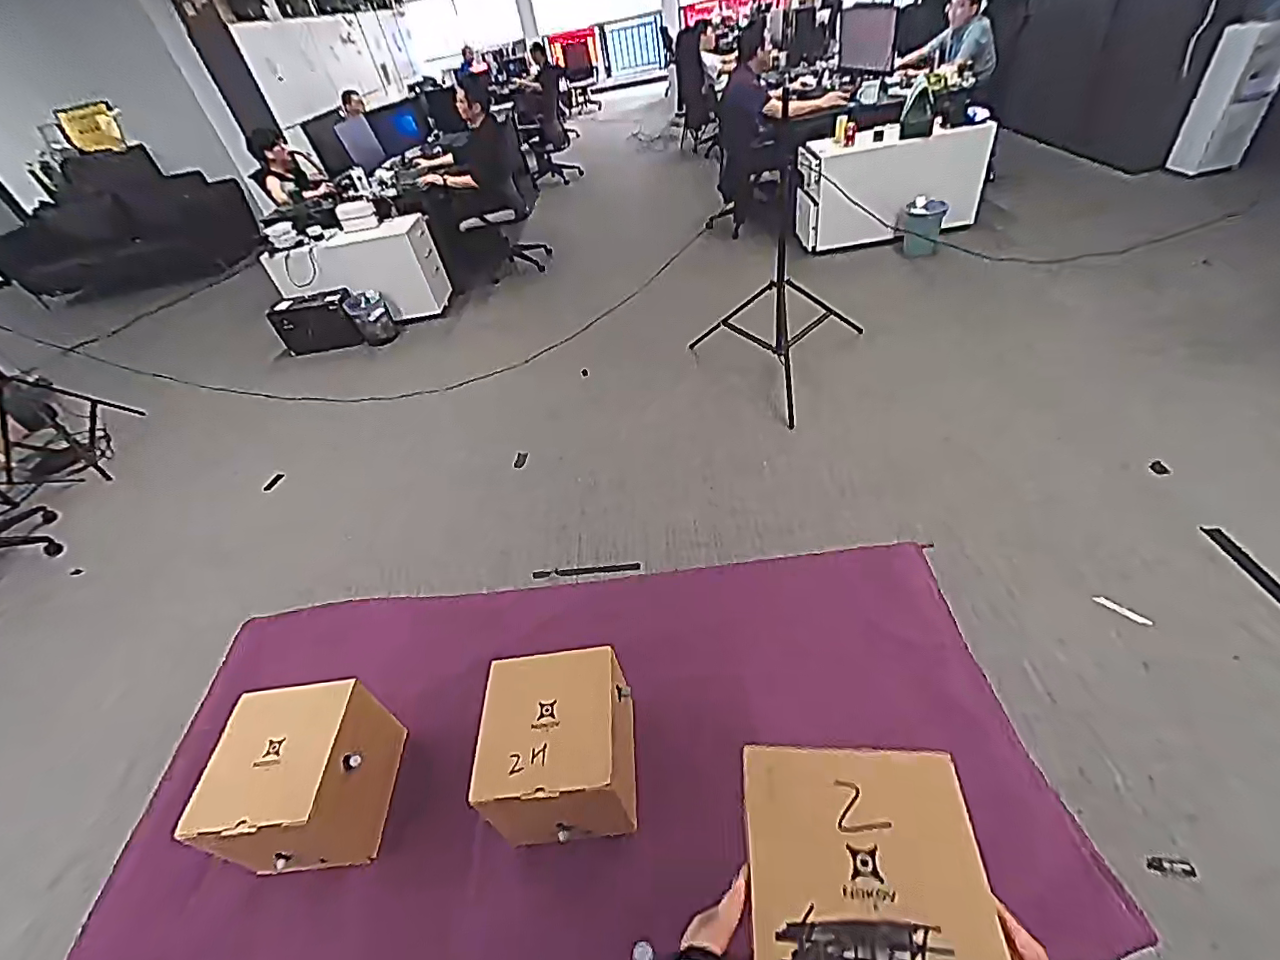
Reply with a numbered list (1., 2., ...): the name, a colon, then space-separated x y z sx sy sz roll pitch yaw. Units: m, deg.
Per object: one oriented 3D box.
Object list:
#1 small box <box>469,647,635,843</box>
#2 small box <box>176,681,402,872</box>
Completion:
1. small box: -0.101 0.347 0.709 0.168 0.176 0.179 -9 42 5
2. small box: -0.450 0.402 0.734 0.168 0.176 0.179 -9 43 3
